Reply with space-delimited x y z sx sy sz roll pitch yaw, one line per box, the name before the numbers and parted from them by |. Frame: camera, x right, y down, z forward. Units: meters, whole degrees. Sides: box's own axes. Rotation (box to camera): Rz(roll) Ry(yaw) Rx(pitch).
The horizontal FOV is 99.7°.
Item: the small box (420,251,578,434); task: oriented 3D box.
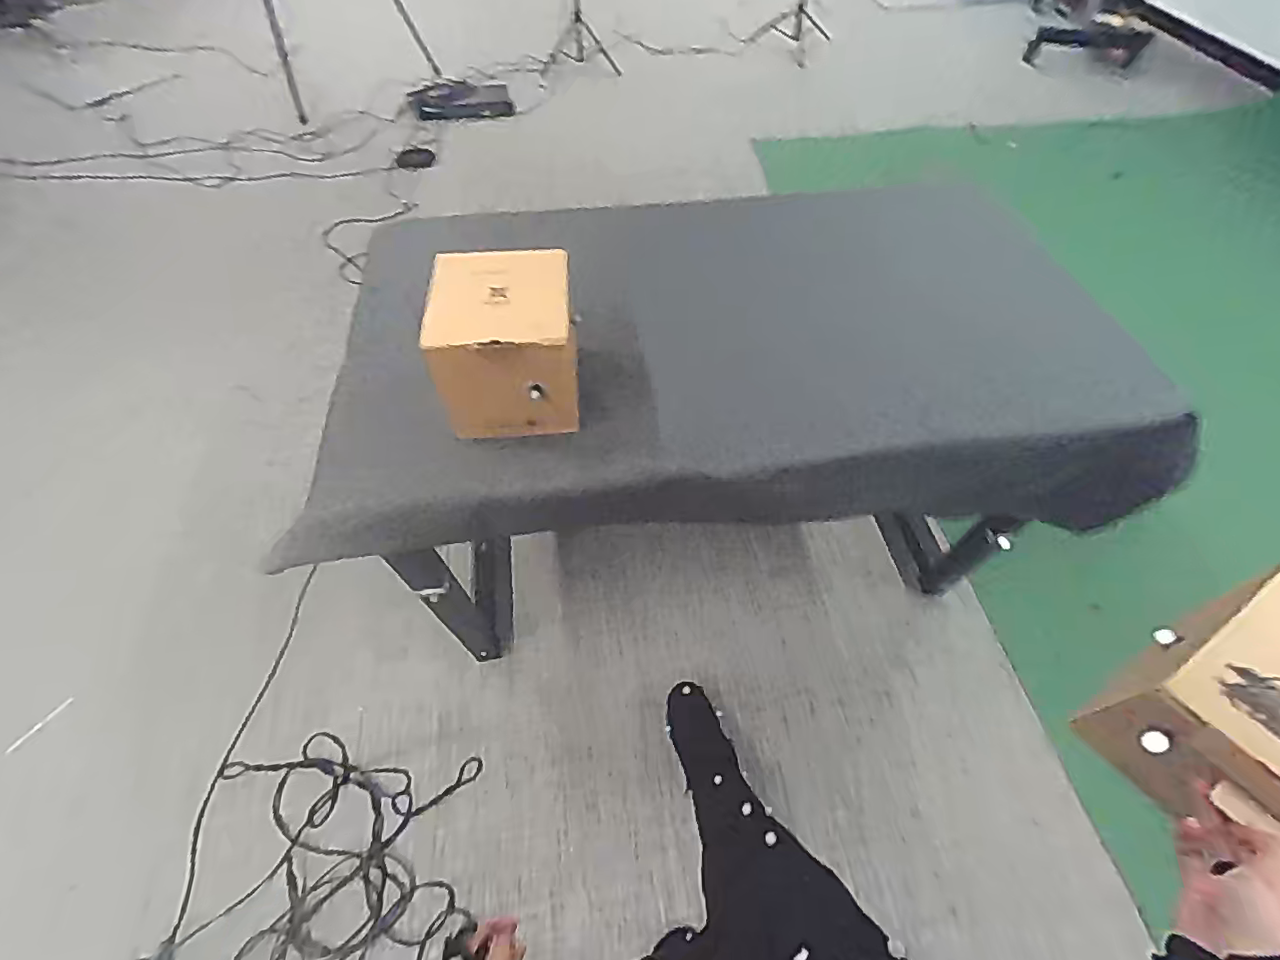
small box | -0.170 -0.172 0.708 0.168 0.176 0.179 -3 55 -5
